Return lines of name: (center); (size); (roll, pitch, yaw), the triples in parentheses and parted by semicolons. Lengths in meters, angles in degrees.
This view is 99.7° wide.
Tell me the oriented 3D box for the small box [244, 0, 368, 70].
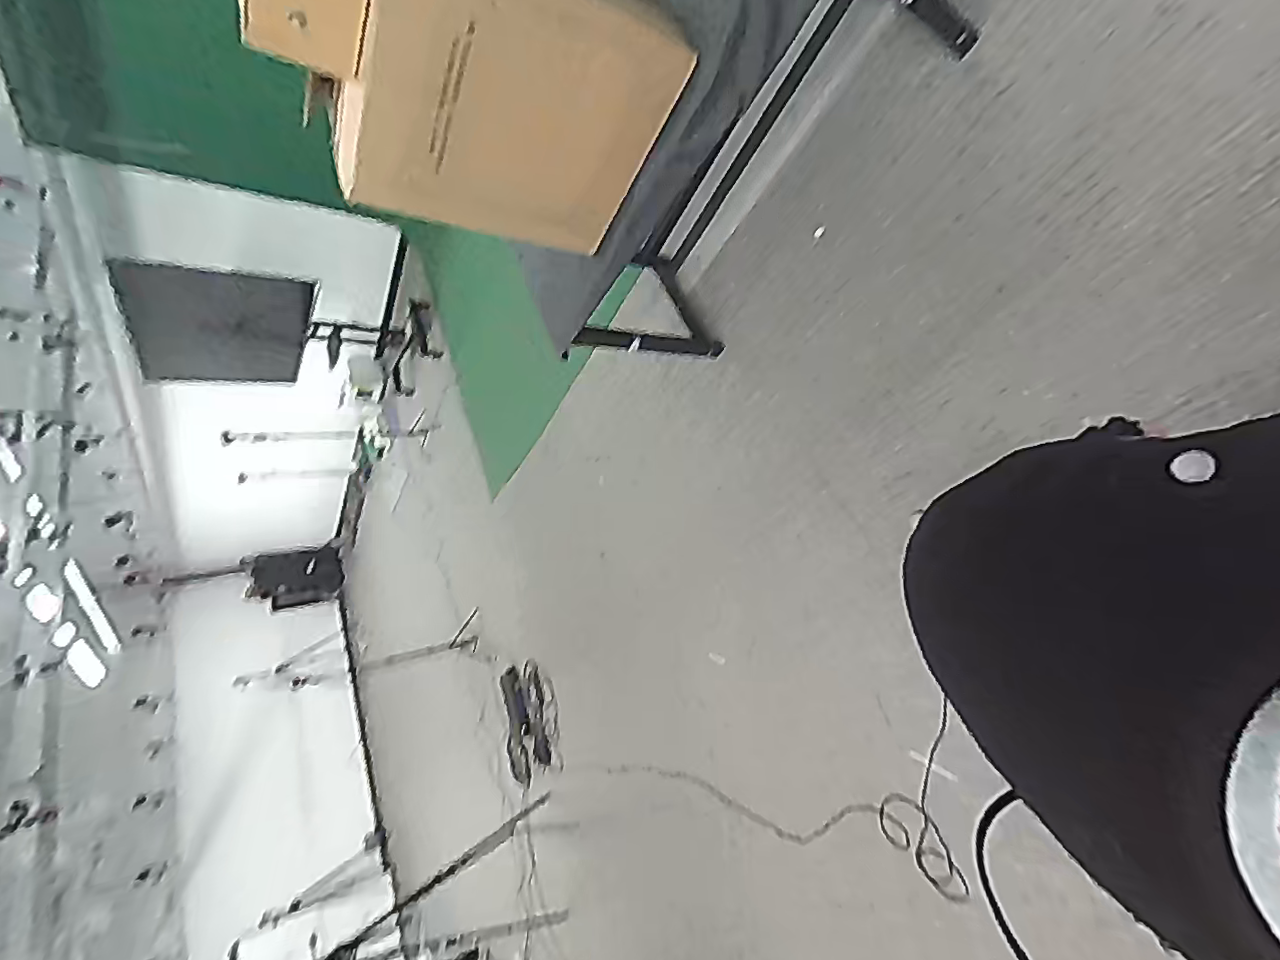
small box: (-0.570, -0.854, 0.917); (0.179, 0.176, 0.168); (-38, 65, 47)
